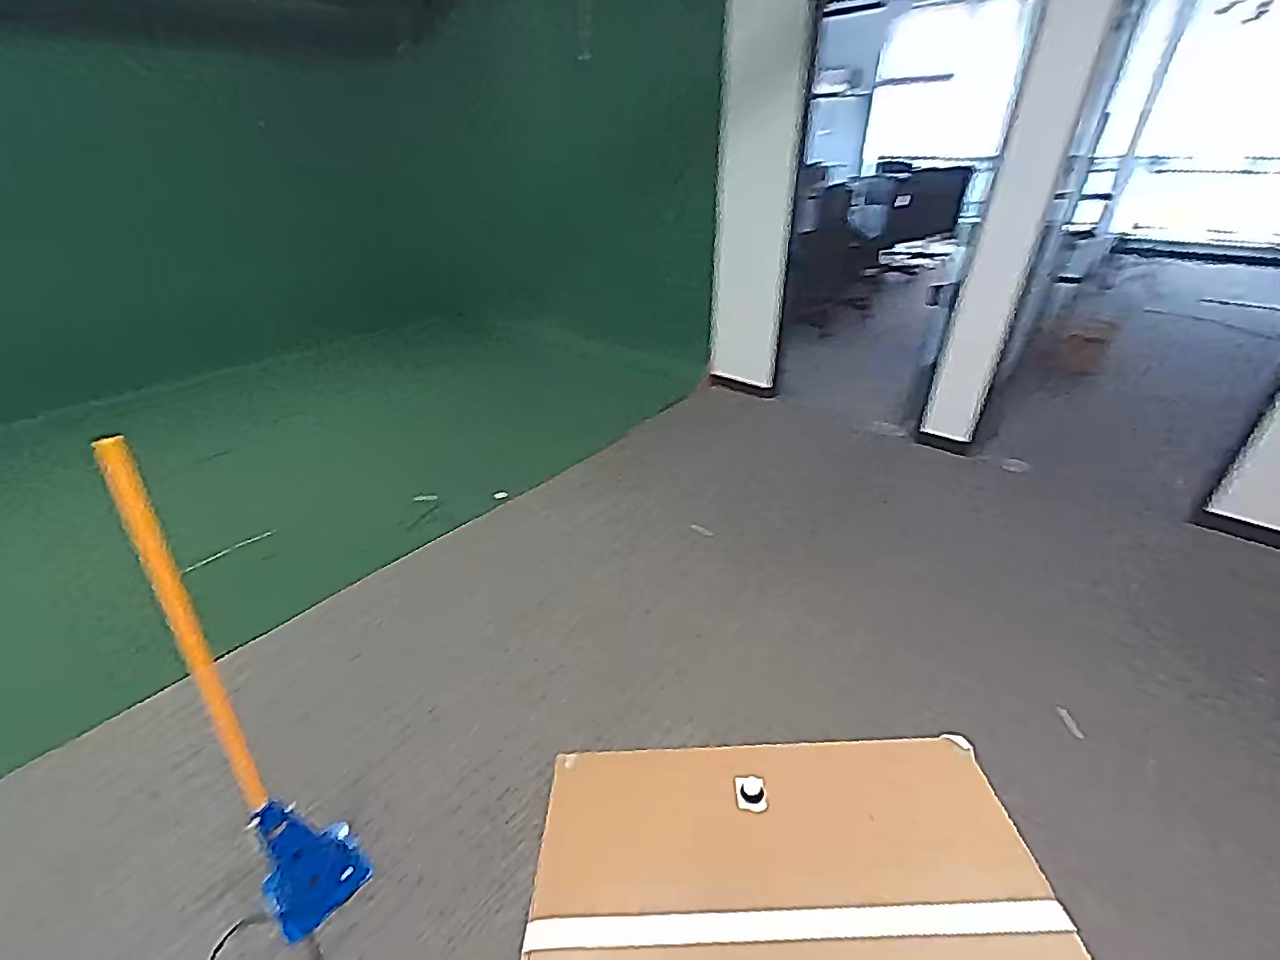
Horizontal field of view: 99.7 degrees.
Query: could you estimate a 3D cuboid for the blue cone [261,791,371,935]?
[{"bbox_3d":[-0.790,0.832,1.246,0.192,0.380,0.193,23,39,32],"label":"blue cone"}]
